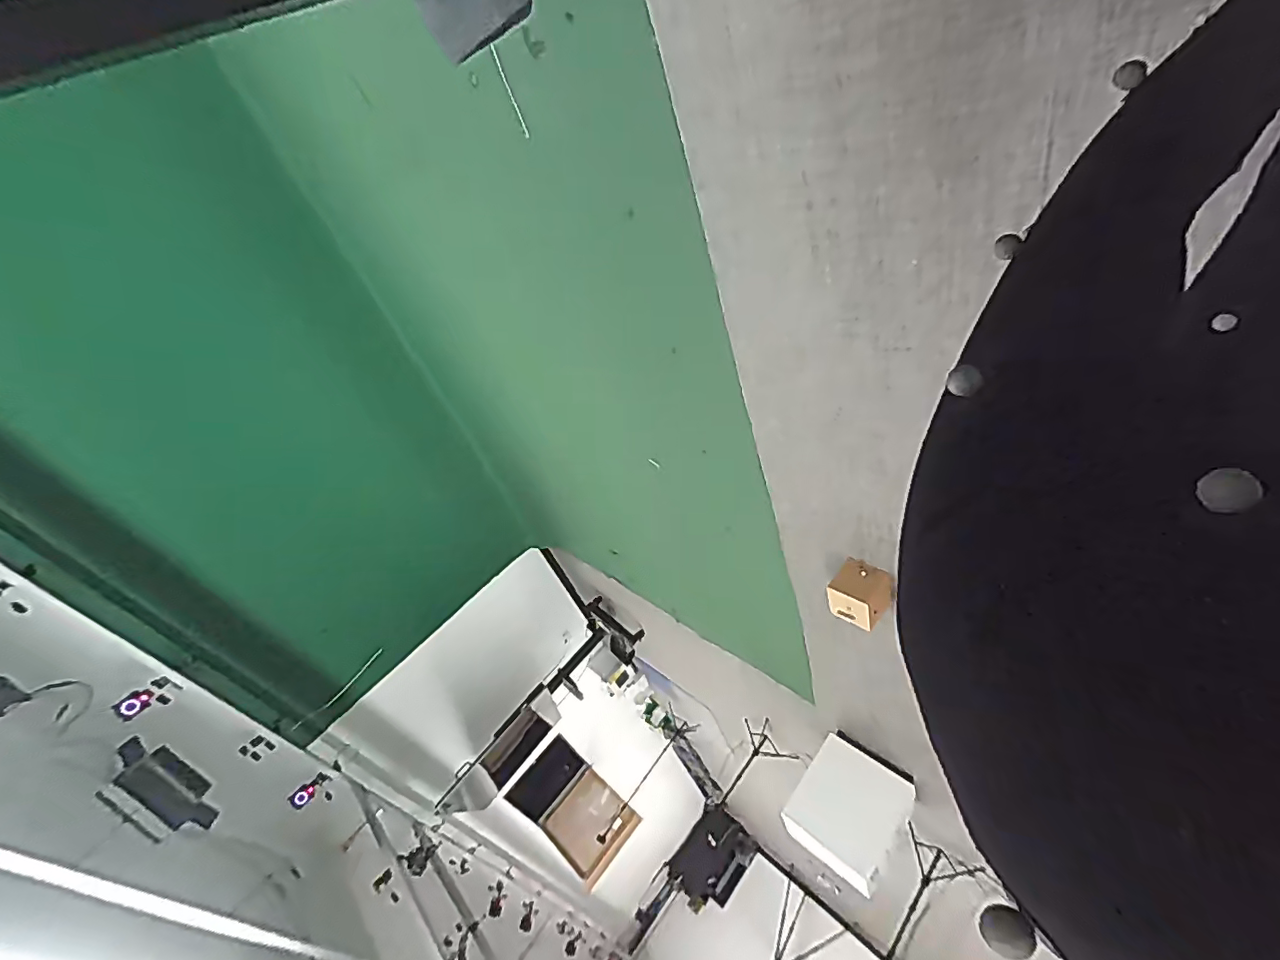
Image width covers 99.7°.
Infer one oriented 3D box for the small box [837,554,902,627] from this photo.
[{"bbox_3d":[0.877,0.416,2.055,0.168,0.176,0.179,22,145,44],"label":"small box"}]
